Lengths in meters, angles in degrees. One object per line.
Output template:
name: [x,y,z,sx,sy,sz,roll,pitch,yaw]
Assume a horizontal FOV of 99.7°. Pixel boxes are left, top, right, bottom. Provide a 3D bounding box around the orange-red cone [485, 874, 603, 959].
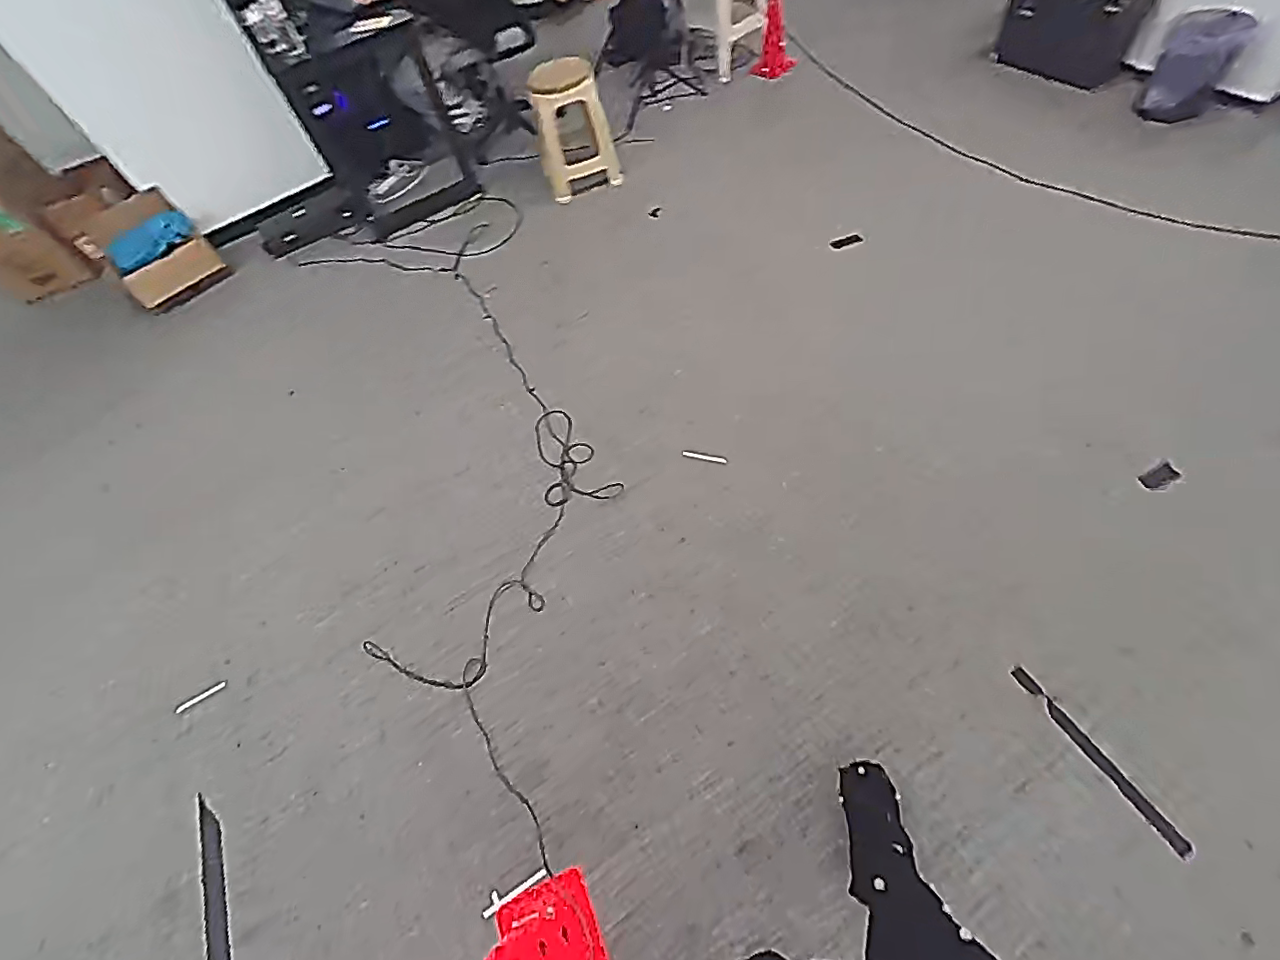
orange-red cone: [-0.213,0.859,0.959,0.198,0.360,0.199,-24,57,-4]
